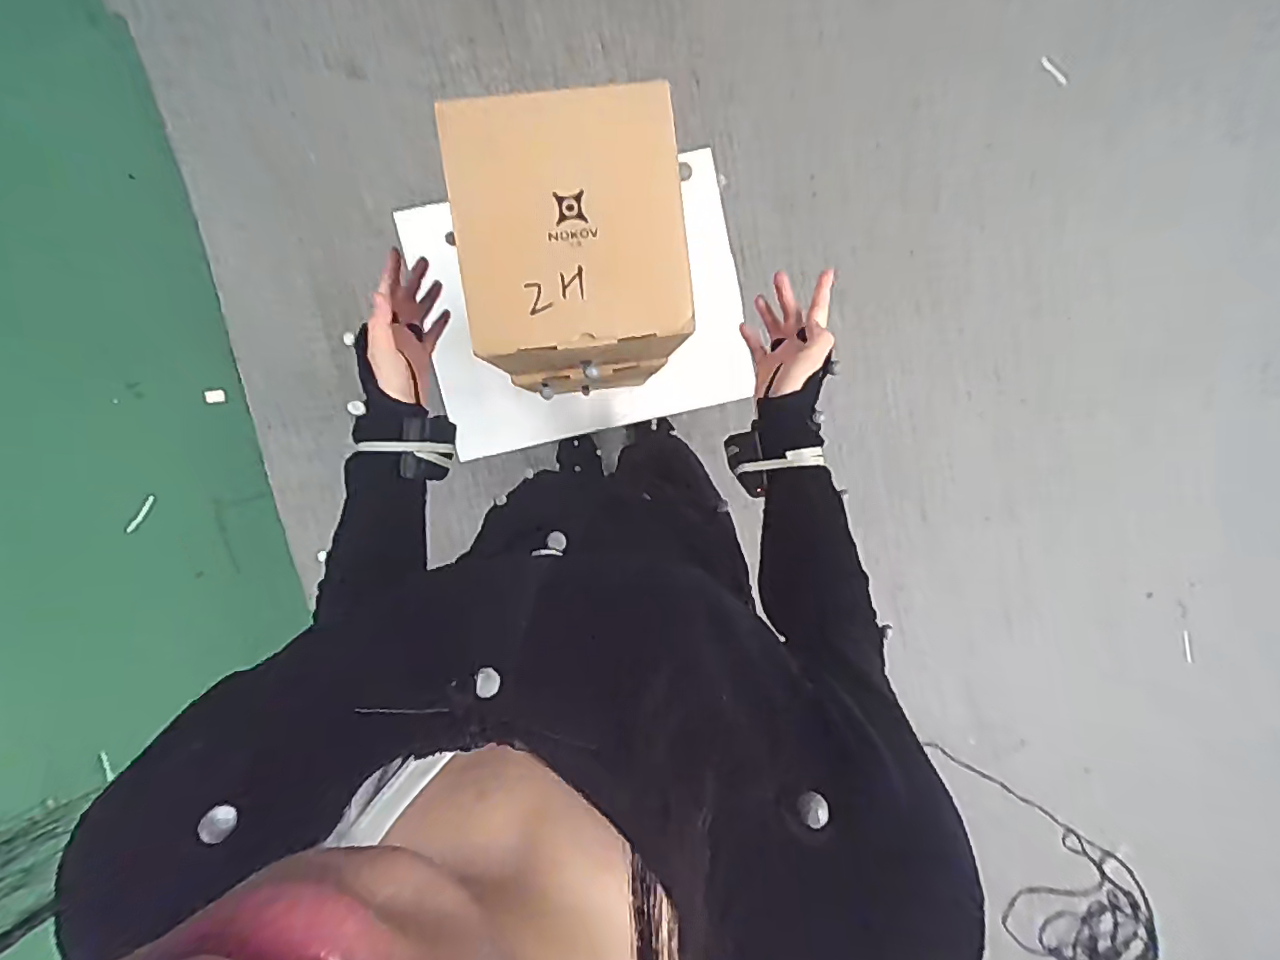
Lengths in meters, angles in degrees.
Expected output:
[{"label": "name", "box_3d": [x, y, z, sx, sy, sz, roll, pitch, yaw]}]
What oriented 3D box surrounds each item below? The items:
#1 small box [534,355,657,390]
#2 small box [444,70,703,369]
[{"label": "small box", "box_3d": [-0.073, -0.230, 0.785, 0.168, 0.176, 0.179, -7, 97, -3]}, {"label": "small box", "box_3d": [-0.050, -0.198, 0.458, 0.168, 0.176, 0.179, -8, 97, -3]}]
